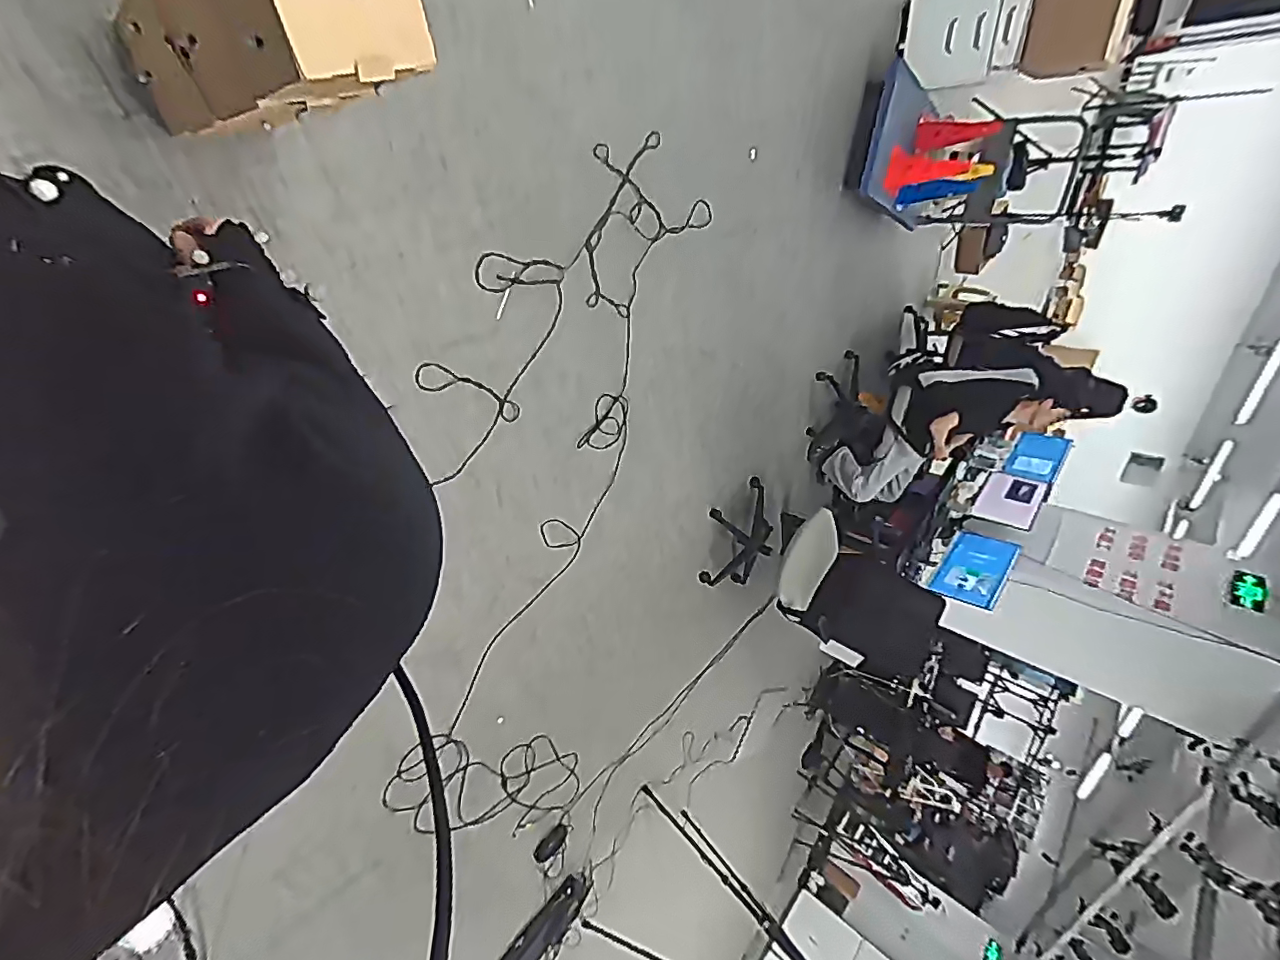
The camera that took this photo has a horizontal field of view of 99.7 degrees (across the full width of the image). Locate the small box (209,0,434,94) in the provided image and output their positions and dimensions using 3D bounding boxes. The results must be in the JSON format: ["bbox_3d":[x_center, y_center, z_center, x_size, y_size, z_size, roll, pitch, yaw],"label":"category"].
[{"bbox_3d":[-0.372,-0.553,0.608,0.168,0.176,0.179,-39,133,-34],"label":"small box"}]

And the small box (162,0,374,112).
[{"bbox_3d":[-0.492,-0.595,0.708,0.168,0.176,0.179,-38,134,-35],"label":"small box"}]

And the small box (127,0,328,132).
[{"bbox_3d":[-0.615,-0.636,0.809,0.179,0.176,0.168,-40,134,-34],"label":"small box"}]

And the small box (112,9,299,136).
[{"bbox_3d":[-0.729,-0.693,0.913,0.179,0.176,0.168,-38,132,-35],"label":"small box"}]
